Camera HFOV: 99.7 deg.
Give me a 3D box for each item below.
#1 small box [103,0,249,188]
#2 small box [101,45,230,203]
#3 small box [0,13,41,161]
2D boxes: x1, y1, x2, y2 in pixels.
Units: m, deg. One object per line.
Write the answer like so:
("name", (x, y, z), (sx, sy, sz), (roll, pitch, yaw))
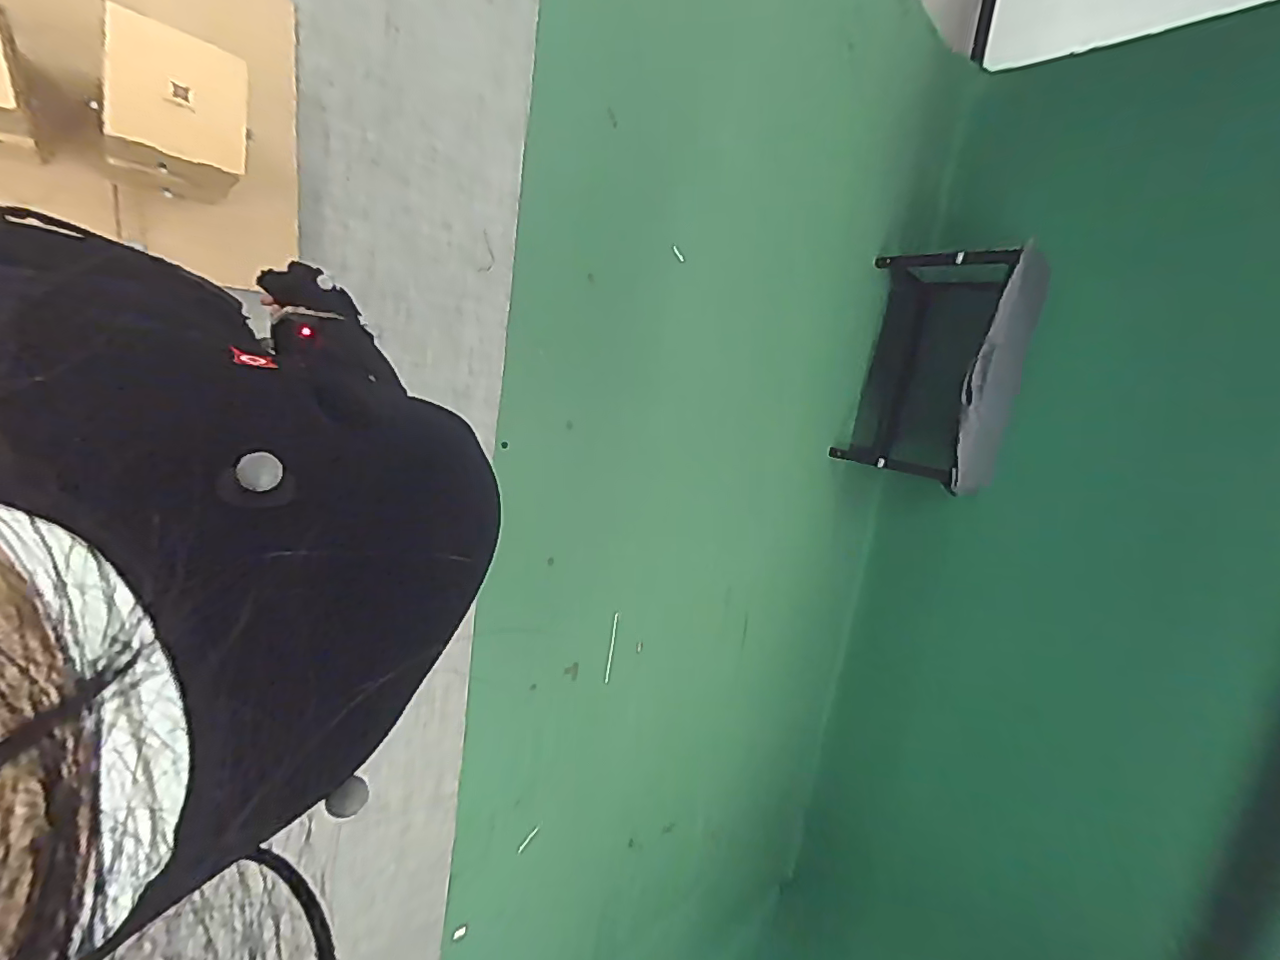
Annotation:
("small box", (-0.749, -0.601, 0.871), (0.168, 0.176, 0.179), (-1, 104, -44))
("small box", (-0.862, -0.630, 0.984), (0.168, 0.176, 0.179), (-4, 106, -42))
("small box", (-1.041, -0.603, 0.811), (0.168, 0.176, 0.179), (-10, 110, -42))
